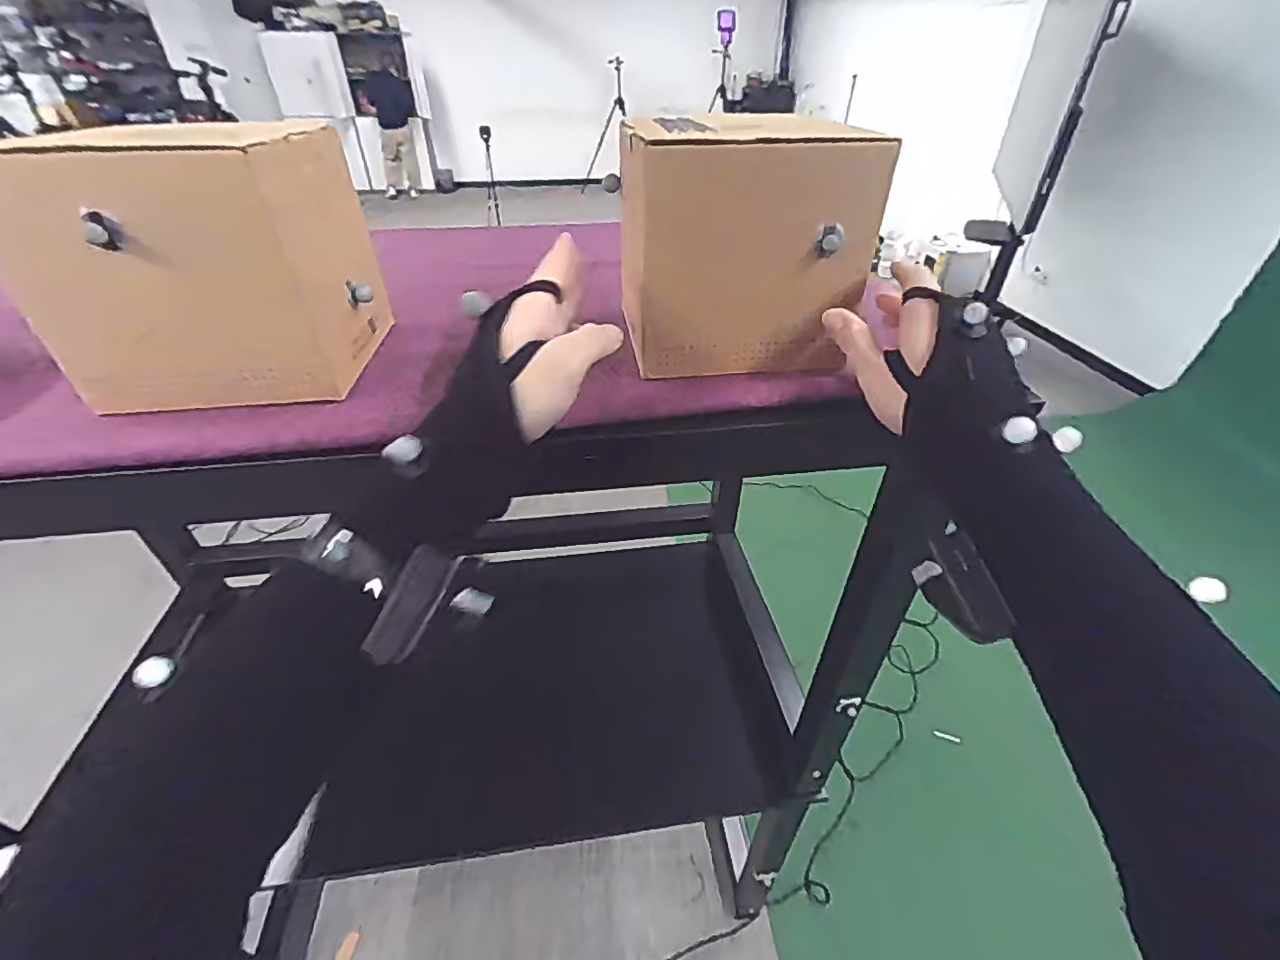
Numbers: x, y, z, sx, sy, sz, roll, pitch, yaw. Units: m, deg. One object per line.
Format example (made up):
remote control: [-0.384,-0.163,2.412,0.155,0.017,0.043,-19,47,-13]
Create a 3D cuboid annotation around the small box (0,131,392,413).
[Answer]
small box: [-0.324,-0.163,0.423,0.179,0.176,0.168,-5,38,-4]
